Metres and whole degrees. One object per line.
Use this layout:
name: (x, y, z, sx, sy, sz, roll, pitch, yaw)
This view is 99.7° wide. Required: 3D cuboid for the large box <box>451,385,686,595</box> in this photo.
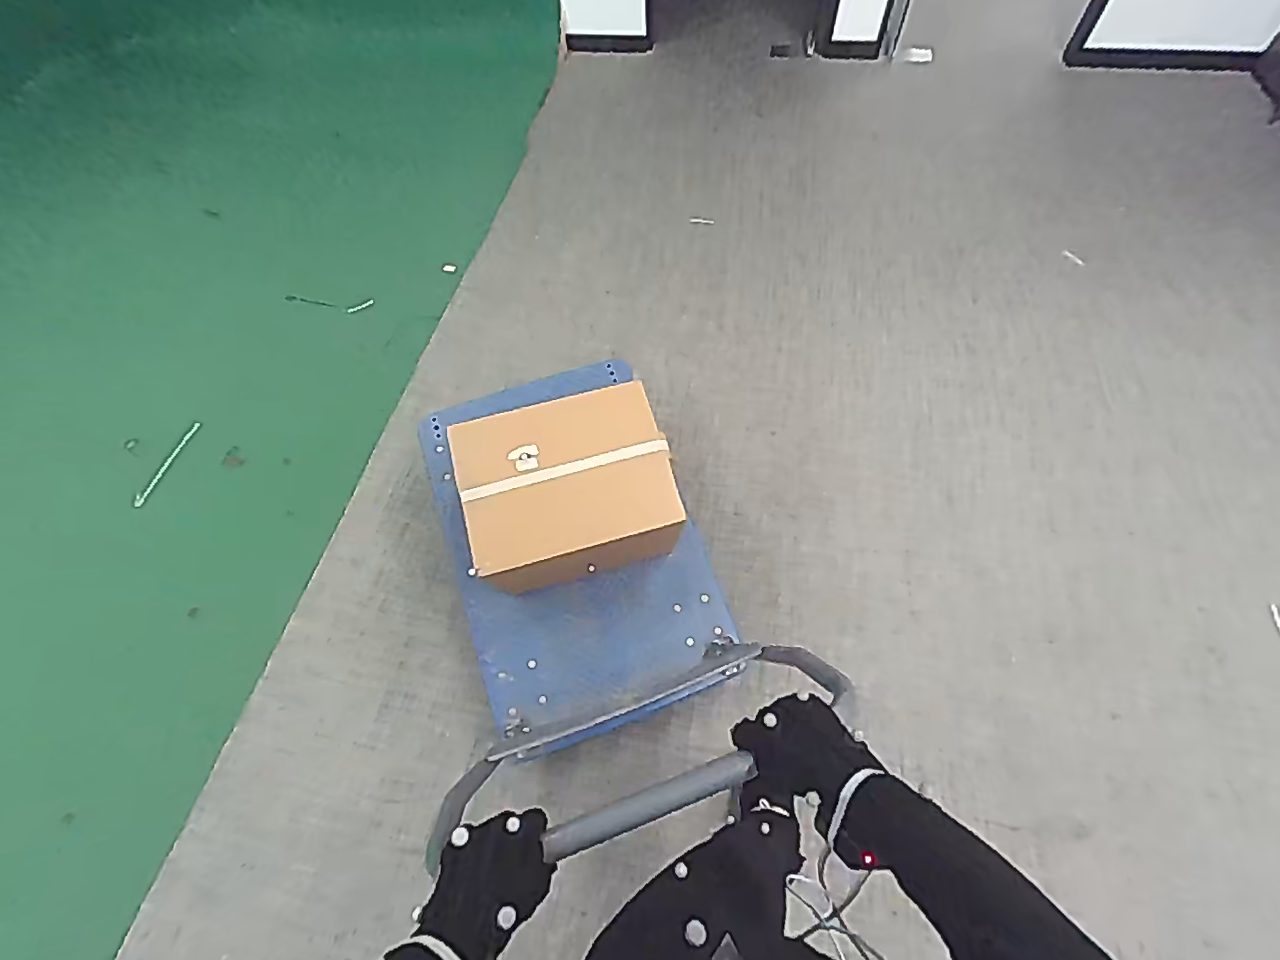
large box: (-0.145, 0.038, 1.190, 0.408, 0.320, 0.320, -15, 72, -6)
